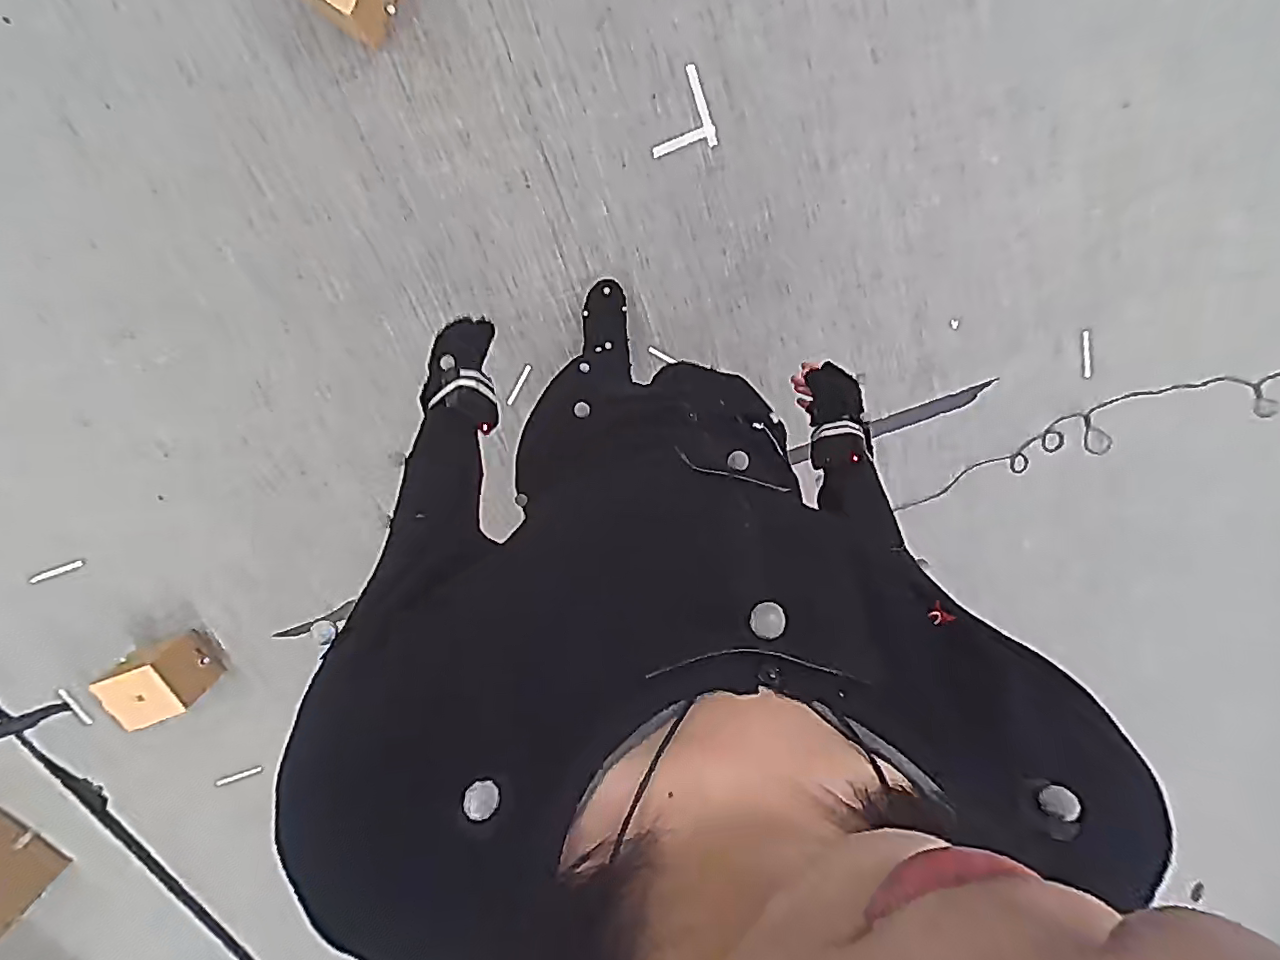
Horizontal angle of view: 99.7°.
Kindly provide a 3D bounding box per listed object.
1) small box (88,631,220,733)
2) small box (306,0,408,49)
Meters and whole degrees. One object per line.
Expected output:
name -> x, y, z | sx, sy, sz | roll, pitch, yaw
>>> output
small box -> -1.328, 0.552, 1.493 | 0.179, 0.176, 0.168 | -20, 110, 0
small box -> -0.584, -1.010, 1.067 | 0.179, 0.176, 0.168 | 29, 103, -15
